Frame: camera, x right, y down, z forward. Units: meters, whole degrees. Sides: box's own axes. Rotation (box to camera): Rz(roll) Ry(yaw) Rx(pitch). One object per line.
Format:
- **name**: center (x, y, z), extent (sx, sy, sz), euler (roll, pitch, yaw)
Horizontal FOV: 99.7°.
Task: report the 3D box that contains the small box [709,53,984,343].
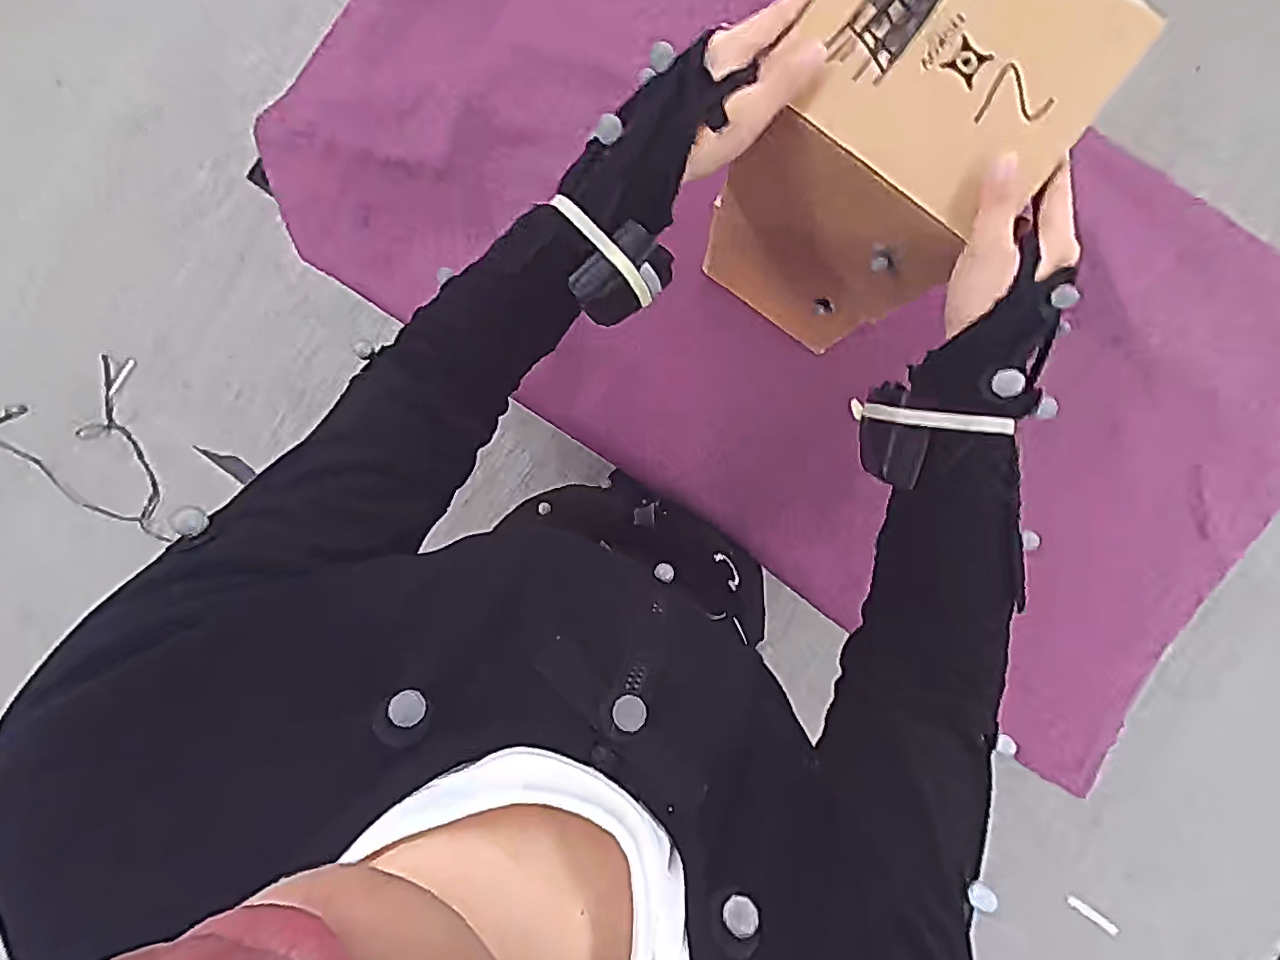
- **small box**: center (0.188, -0.264, 0.557), extent (0.179, 0.176, 0.168), euler (36, 93, 0)
